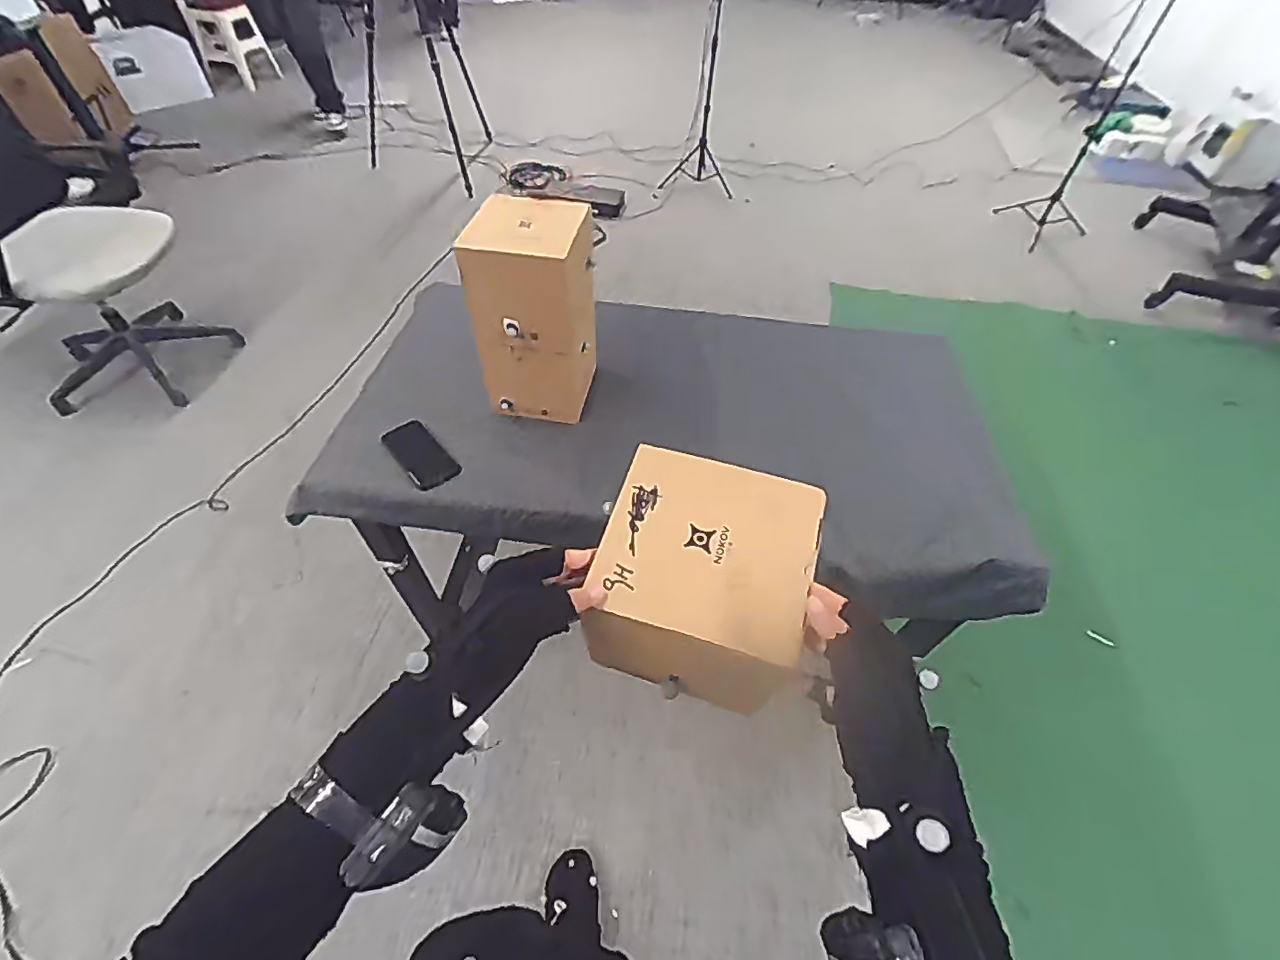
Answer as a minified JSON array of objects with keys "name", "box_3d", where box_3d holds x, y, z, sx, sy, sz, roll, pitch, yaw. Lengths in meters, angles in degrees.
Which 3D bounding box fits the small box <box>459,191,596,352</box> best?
[{"name":"small box","box_3d":[-0.168,-0.334,0.871,0.168,0.176,0.179,7,52,4]}]

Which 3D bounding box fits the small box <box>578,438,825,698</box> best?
[{"name":"small box","box_3d":[0.056,0.091,0.516,0.179,0.176,0.168,16,56,9]}]

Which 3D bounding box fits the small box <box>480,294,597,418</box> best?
[{"name":"small box","box_3d":[-0.175,-0.237,1.000,0.168,0.176,0.179,9,50,4]}]
